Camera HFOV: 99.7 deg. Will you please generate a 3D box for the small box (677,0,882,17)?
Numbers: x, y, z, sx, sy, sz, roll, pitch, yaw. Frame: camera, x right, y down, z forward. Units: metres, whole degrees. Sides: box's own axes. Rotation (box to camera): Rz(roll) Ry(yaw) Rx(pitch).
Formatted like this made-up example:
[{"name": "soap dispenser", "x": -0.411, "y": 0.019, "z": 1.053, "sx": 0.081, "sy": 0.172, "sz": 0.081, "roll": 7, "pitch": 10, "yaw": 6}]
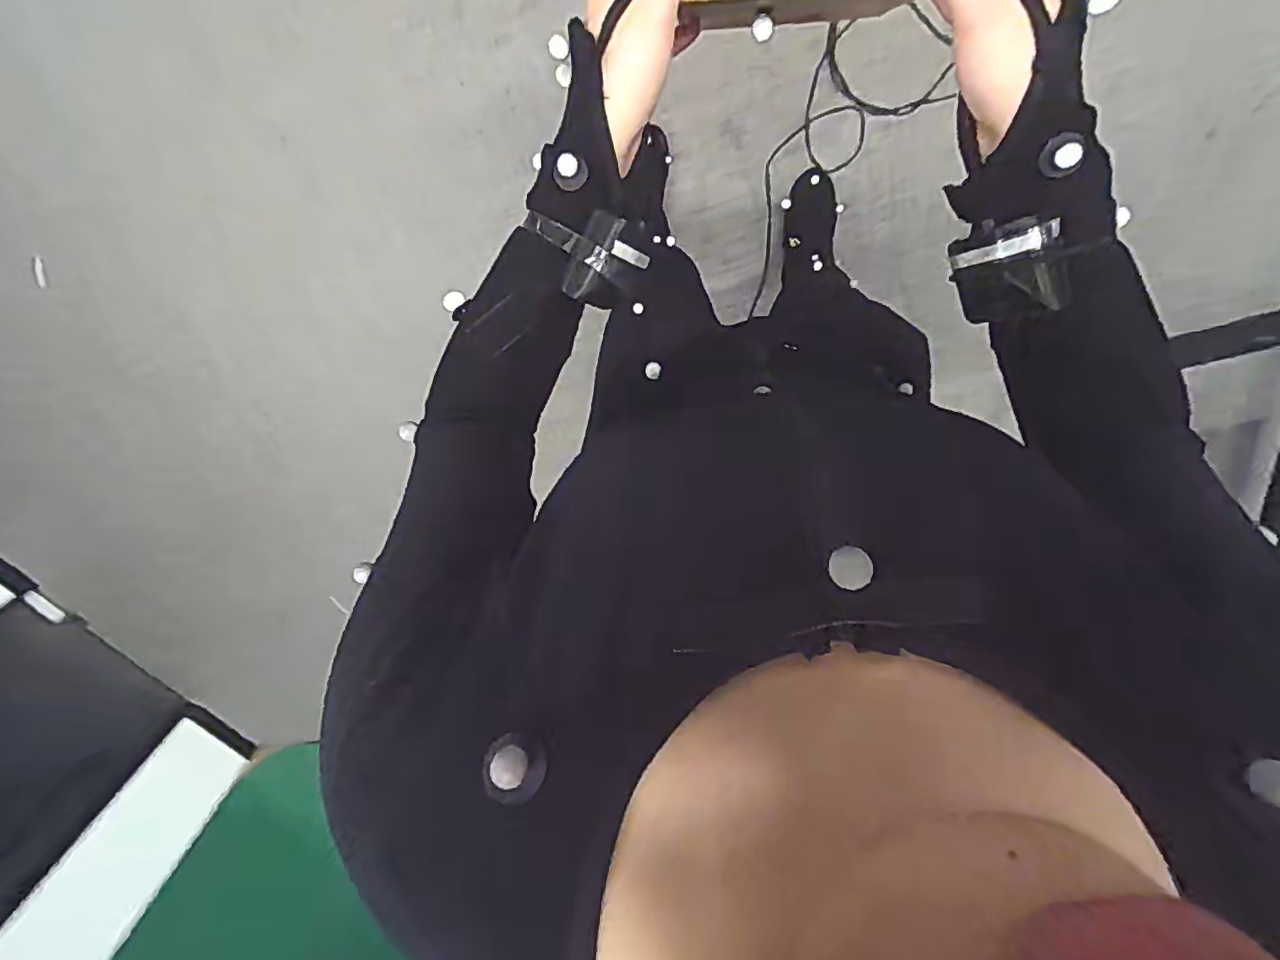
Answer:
[{"name": "small box", "x": 0.102, "y": -0.409, "z": 0.334, "sx": 0.168, "sy": 0.176, "sz": 0.179, "roll": 1, "pitch": 124, "yaw": 6}]
